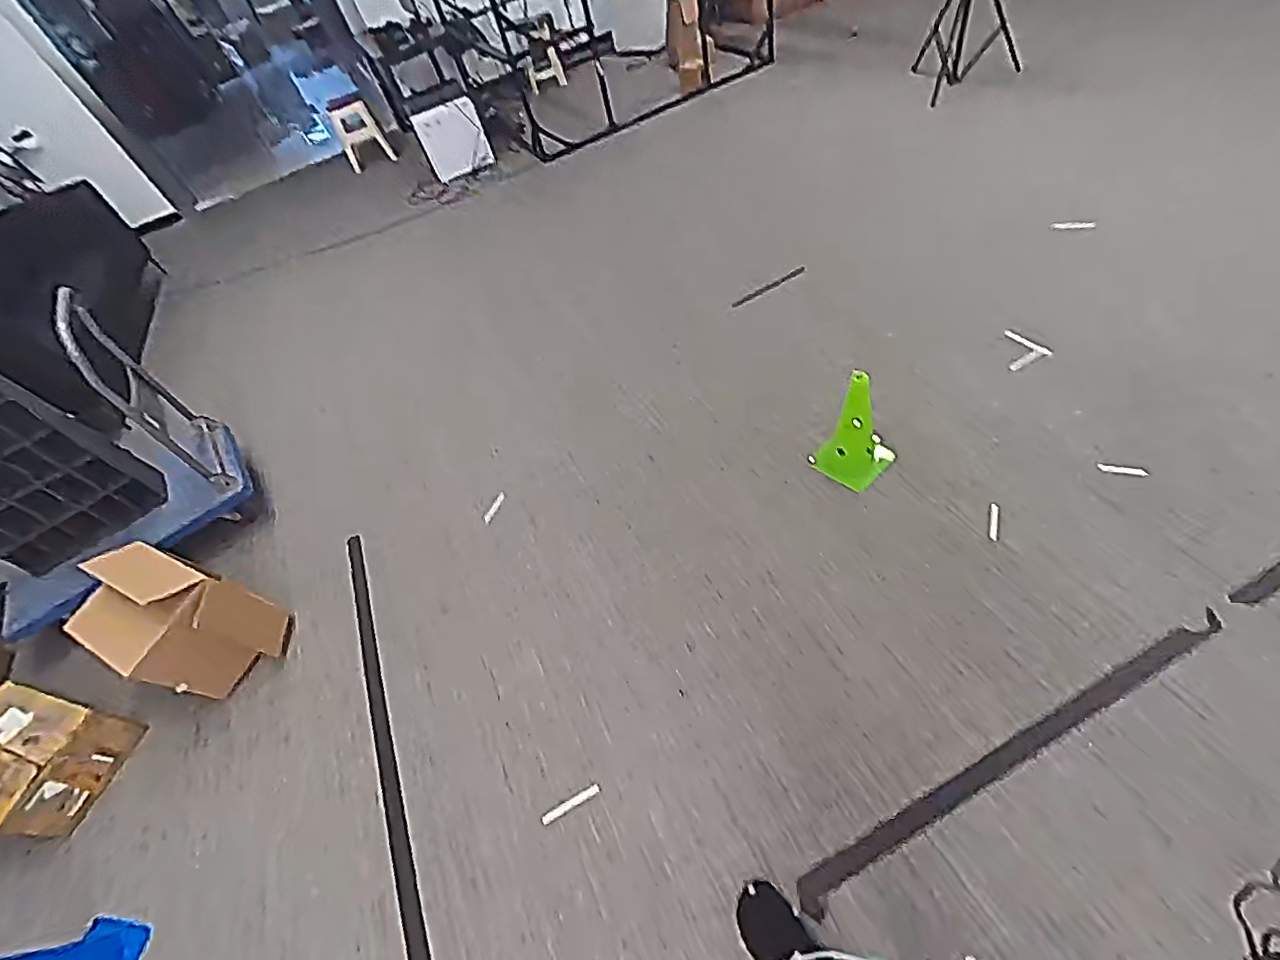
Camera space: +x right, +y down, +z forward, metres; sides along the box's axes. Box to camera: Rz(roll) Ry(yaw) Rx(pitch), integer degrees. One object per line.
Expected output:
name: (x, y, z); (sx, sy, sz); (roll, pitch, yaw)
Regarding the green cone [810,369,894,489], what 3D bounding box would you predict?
green cone: (0.649, -0.176, 1.615); (0.202, 0.368, 0.200); (-40, 53, -18)
